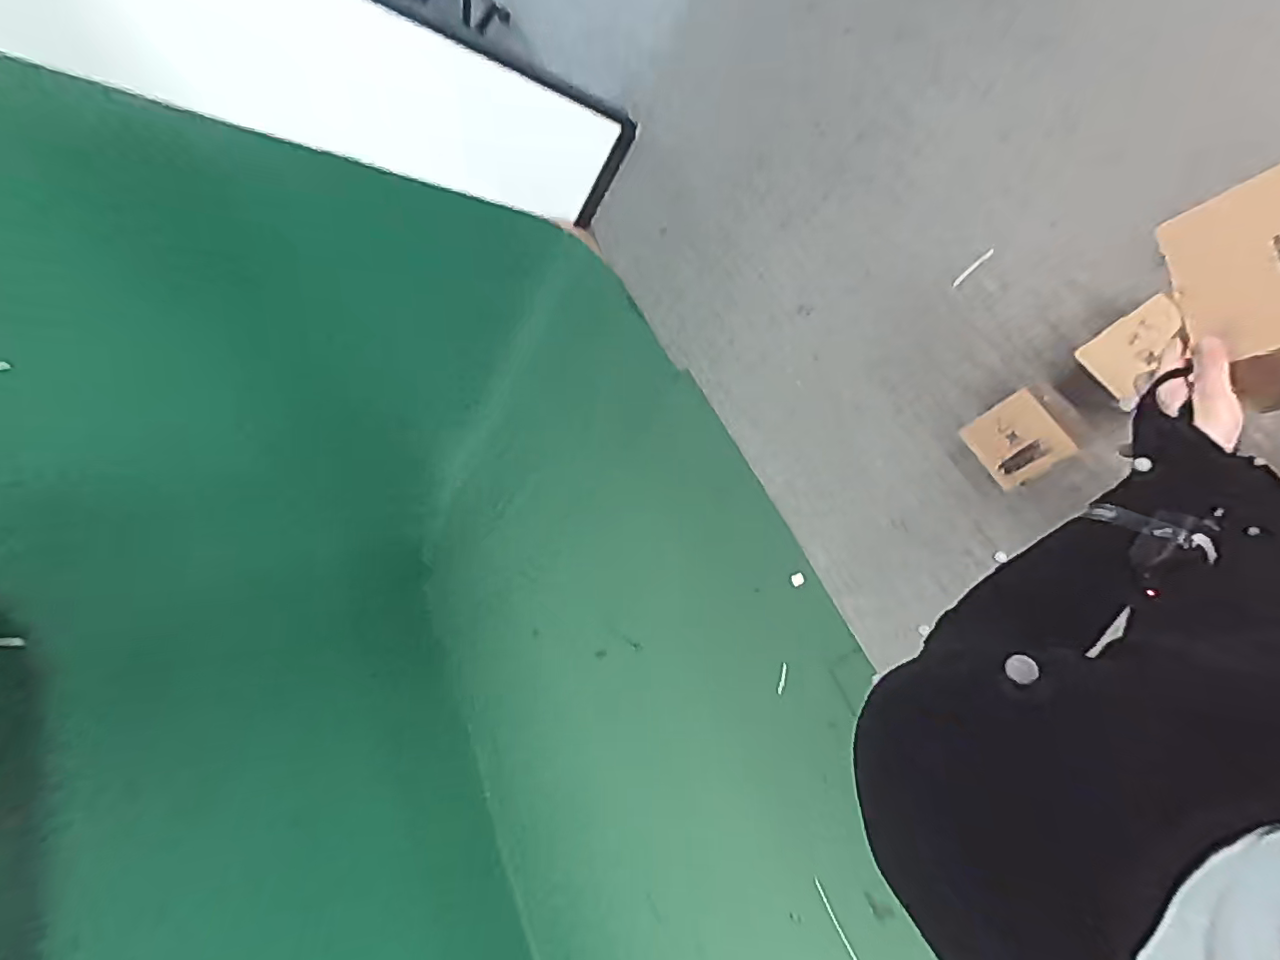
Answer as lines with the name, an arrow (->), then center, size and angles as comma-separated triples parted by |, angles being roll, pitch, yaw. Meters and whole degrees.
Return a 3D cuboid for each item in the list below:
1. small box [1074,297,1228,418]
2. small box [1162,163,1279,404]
small box -> 1.047, -0.244, 1.105 | 0.168, 0.176, 0.179 | -47, 61, 38
small box -> 0.627, -0.185, 0.479 | 0.179, 0.176, 0.168 | -26, 56, 56
